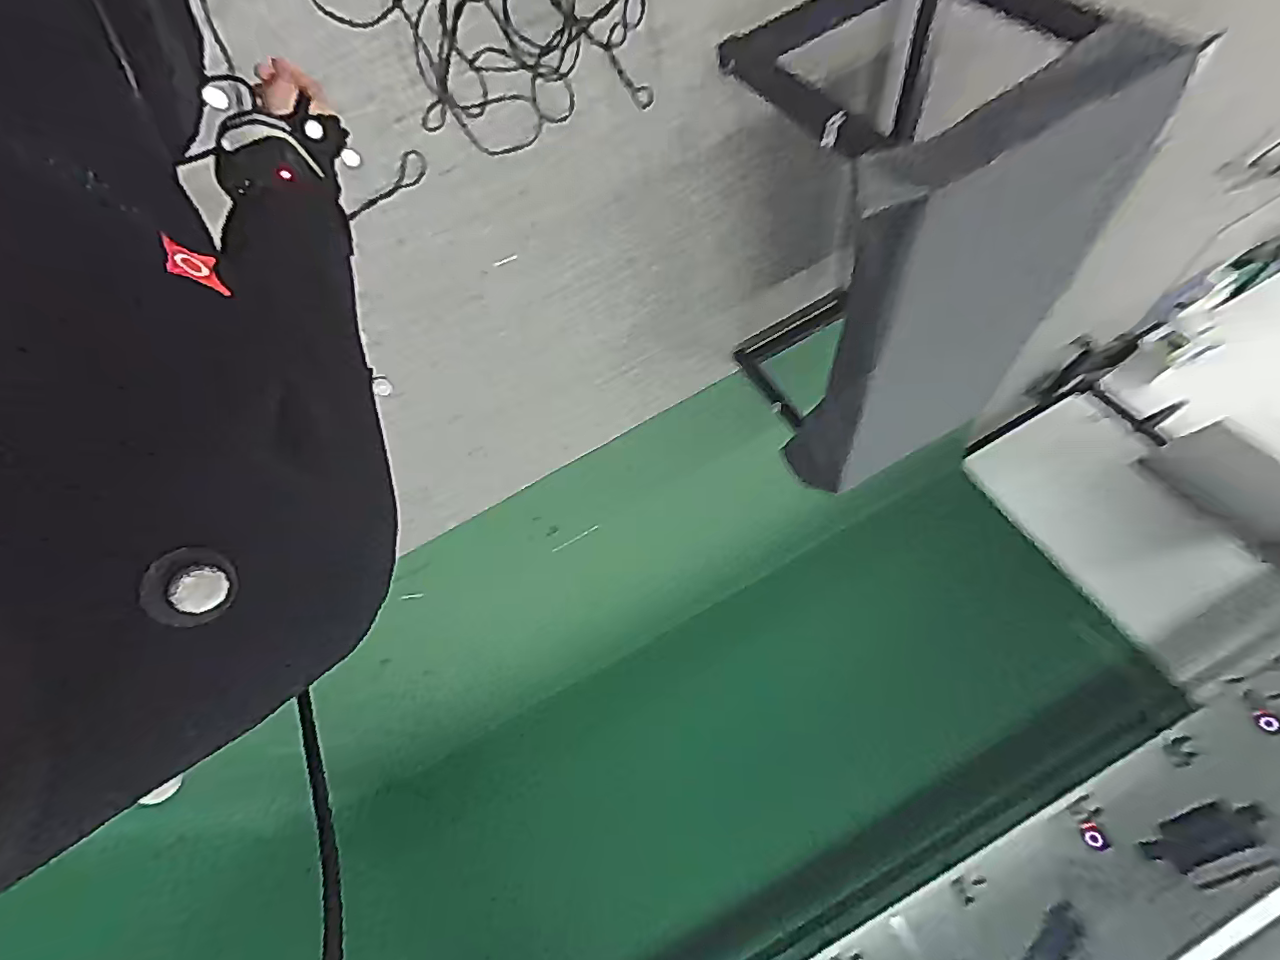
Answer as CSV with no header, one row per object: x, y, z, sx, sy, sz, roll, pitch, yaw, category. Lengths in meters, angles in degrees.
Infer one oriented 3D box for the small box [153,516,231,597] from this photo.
-1.325,0.218,1.595,0.168,0.176,0.179,0,139,-42,small box
